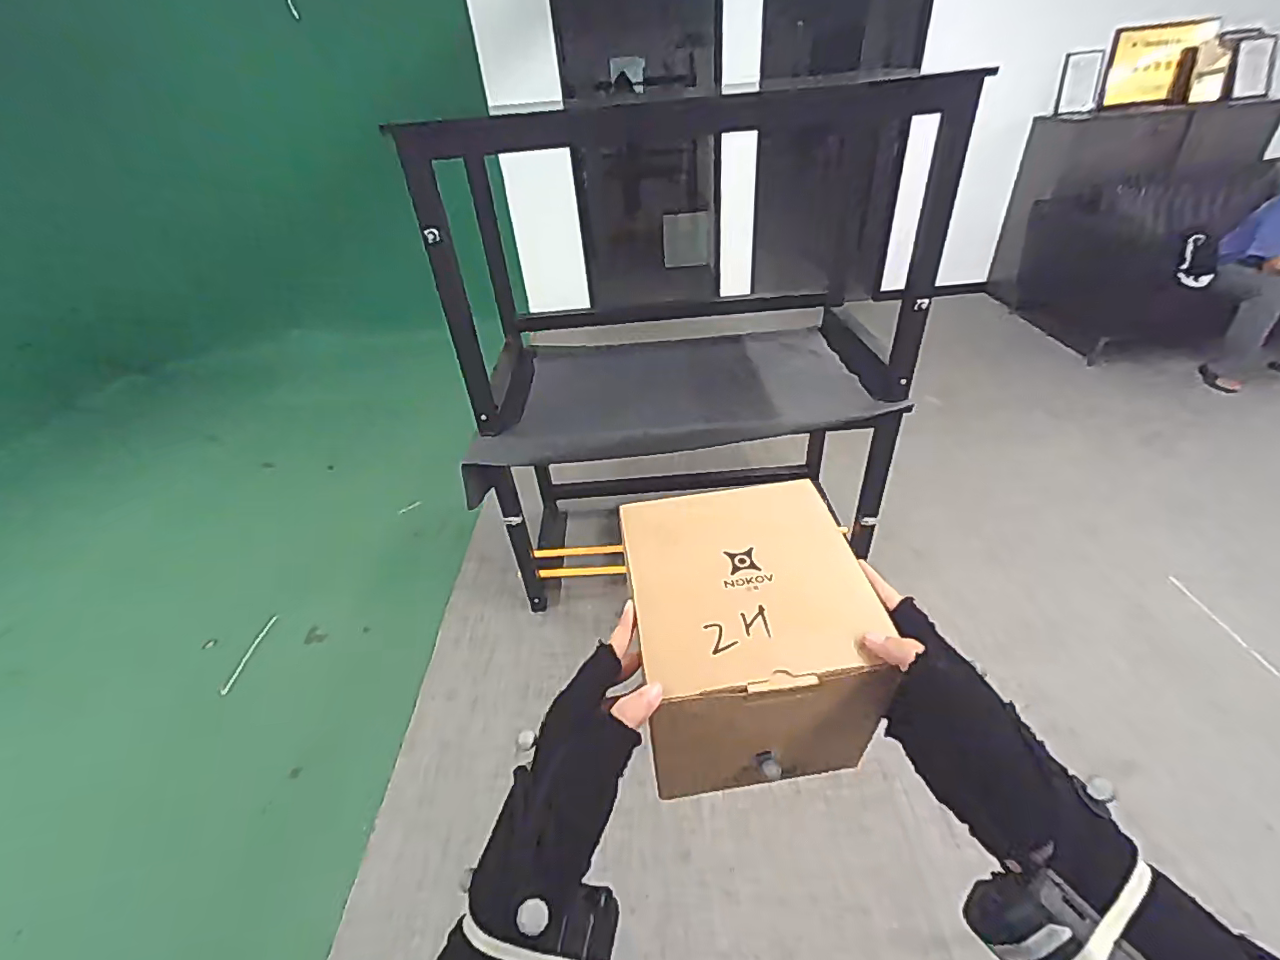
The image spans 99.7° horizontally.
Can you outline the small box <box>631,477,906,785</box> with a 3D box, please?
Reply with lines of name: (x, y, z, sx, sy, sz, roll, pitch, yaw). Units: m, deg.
small box: (0.084, 0.122, 0.453, 0.168, 0.176, 0.179, -8, 41, -3)
